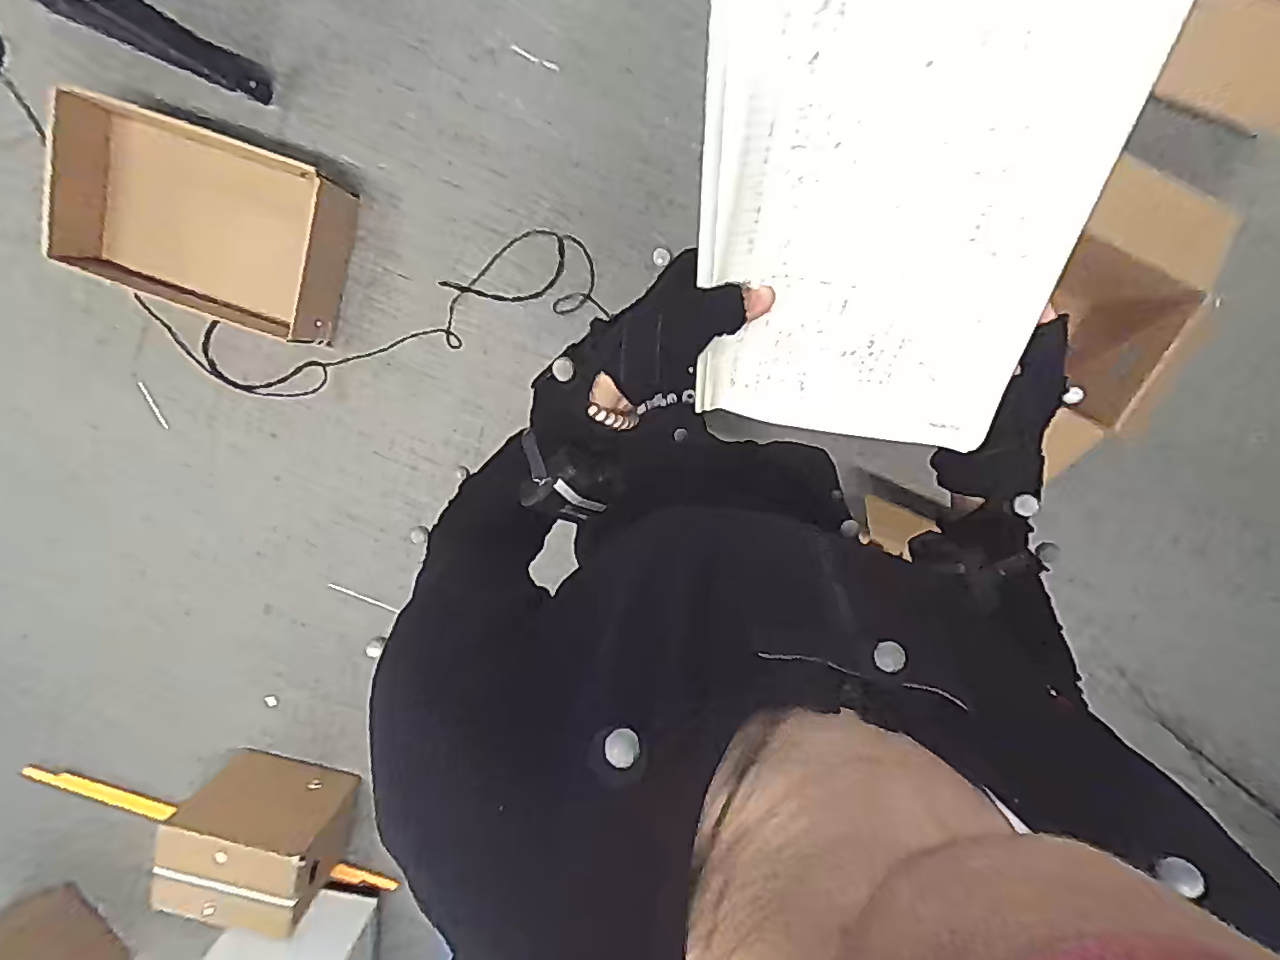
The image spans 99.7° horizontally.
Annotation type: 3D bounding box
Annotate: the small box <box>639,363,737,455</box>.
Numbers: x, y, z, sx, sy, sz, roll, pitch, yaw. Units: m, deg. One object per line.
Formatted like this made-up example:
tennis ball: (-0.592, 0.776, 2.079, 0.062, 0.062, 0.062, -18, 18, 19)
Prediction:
small box: (0.118, -0.181, 1.385, 0.168, 0.176, 0.179, -42, 78, 23)
